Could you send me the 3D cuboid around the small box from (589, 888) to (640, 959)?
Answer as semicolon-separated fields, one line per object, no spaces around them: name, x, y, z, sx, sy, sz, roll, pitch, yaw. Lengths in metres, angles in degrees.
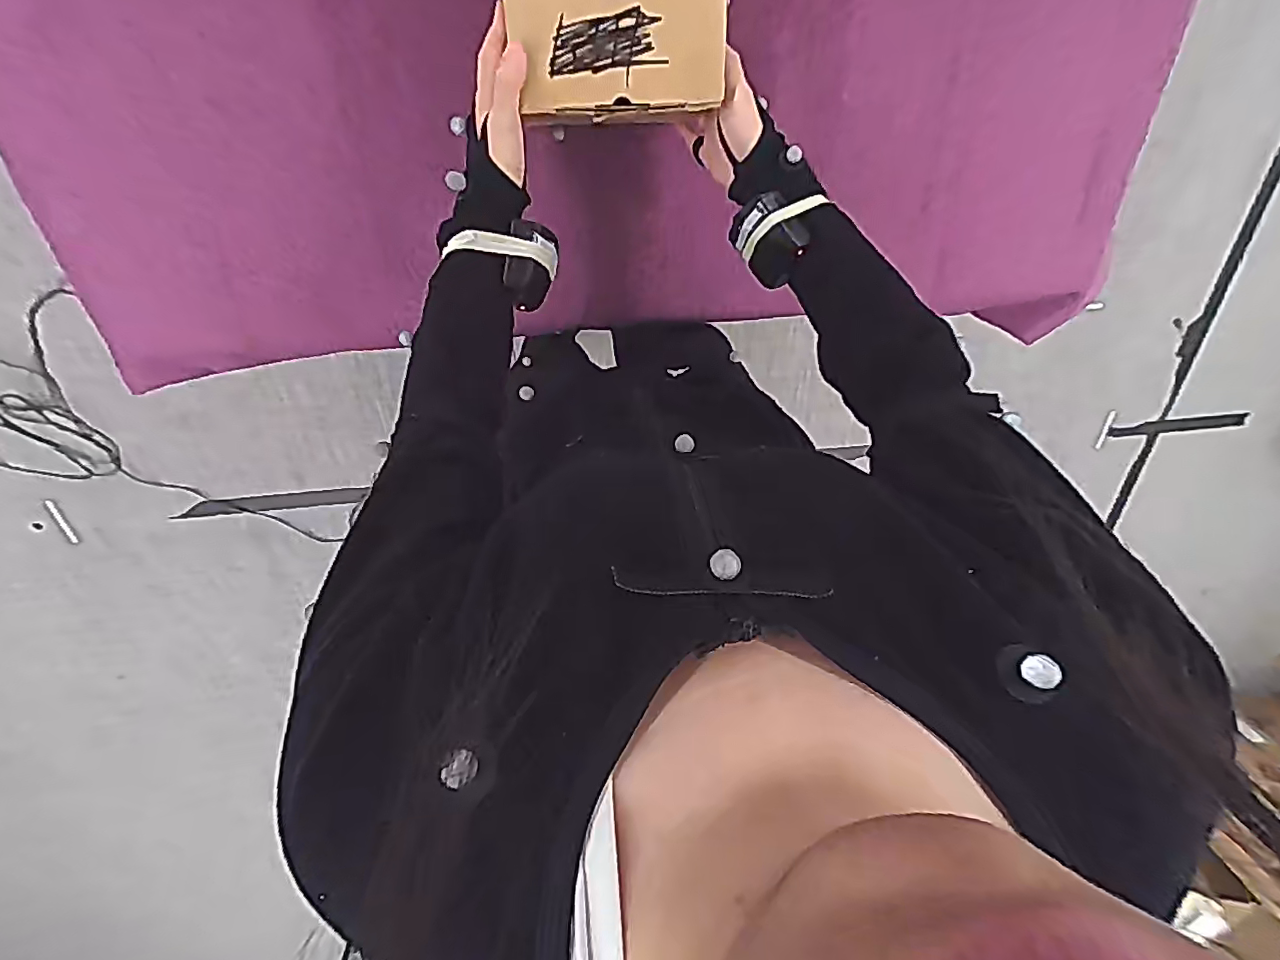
small box;-0.091;1.597;1.924;0.168;0.176;0.179;-6;119;-5

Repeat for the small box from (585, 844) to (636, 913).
small box;-0.116;1.525;2.068;0.179;0.176;0.168;-6;119;-4

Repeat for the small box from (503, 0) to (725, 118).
small box;-0.027;-0.410;0.450;0.168;0.176;0.179;-5;120;-6
